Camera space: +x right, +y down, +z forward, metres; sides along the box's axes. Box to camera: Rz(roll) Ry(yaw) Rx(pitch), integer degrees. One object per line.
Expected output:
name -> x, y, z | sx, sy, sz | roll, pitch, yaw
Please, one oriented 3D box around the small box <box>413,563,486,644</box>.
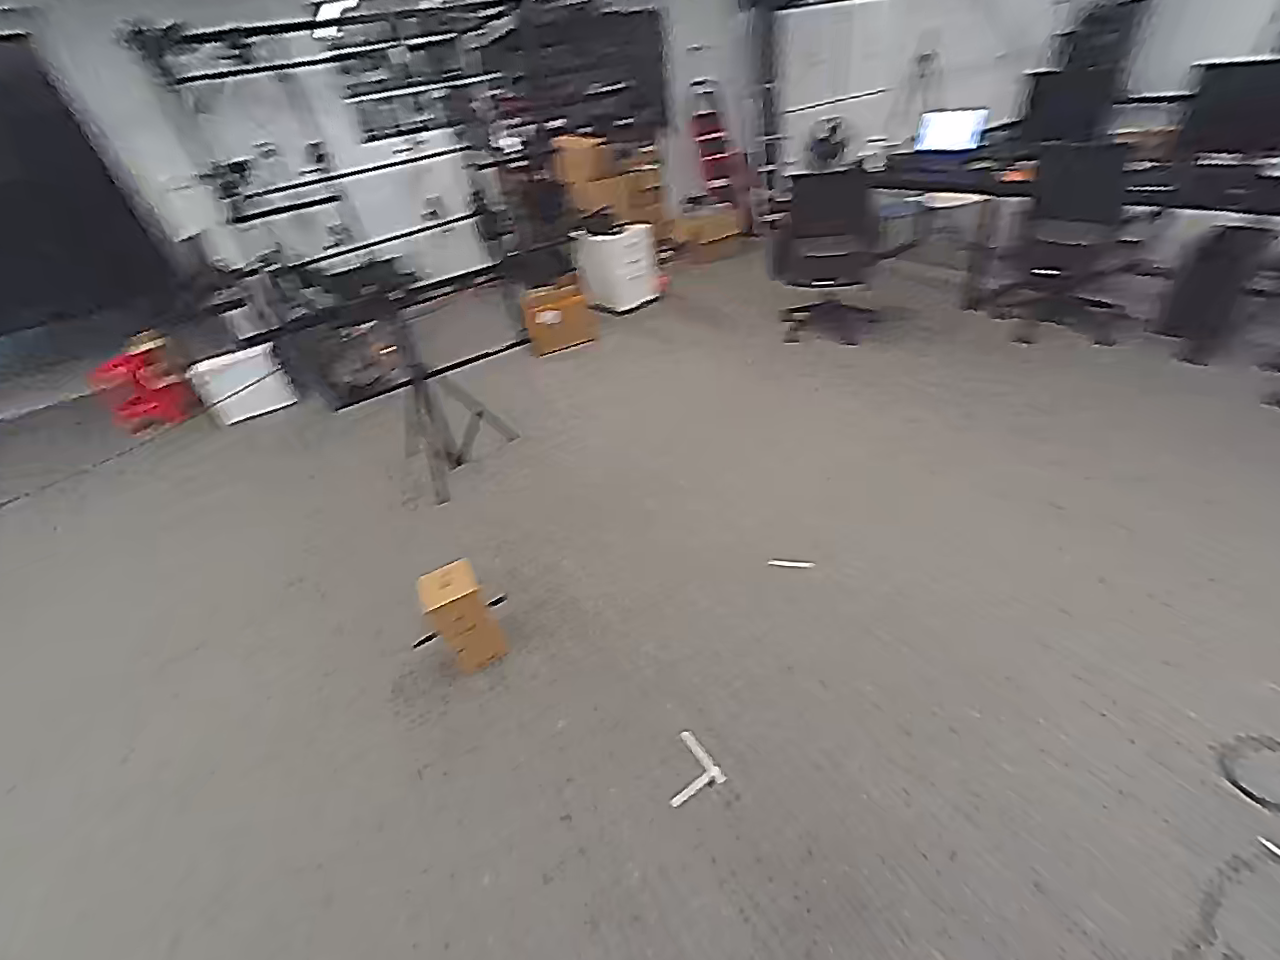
small box -> -0.622, 0.412, 1.775 | 0.168, 0.176, 0.179 | -23, 37, -17
